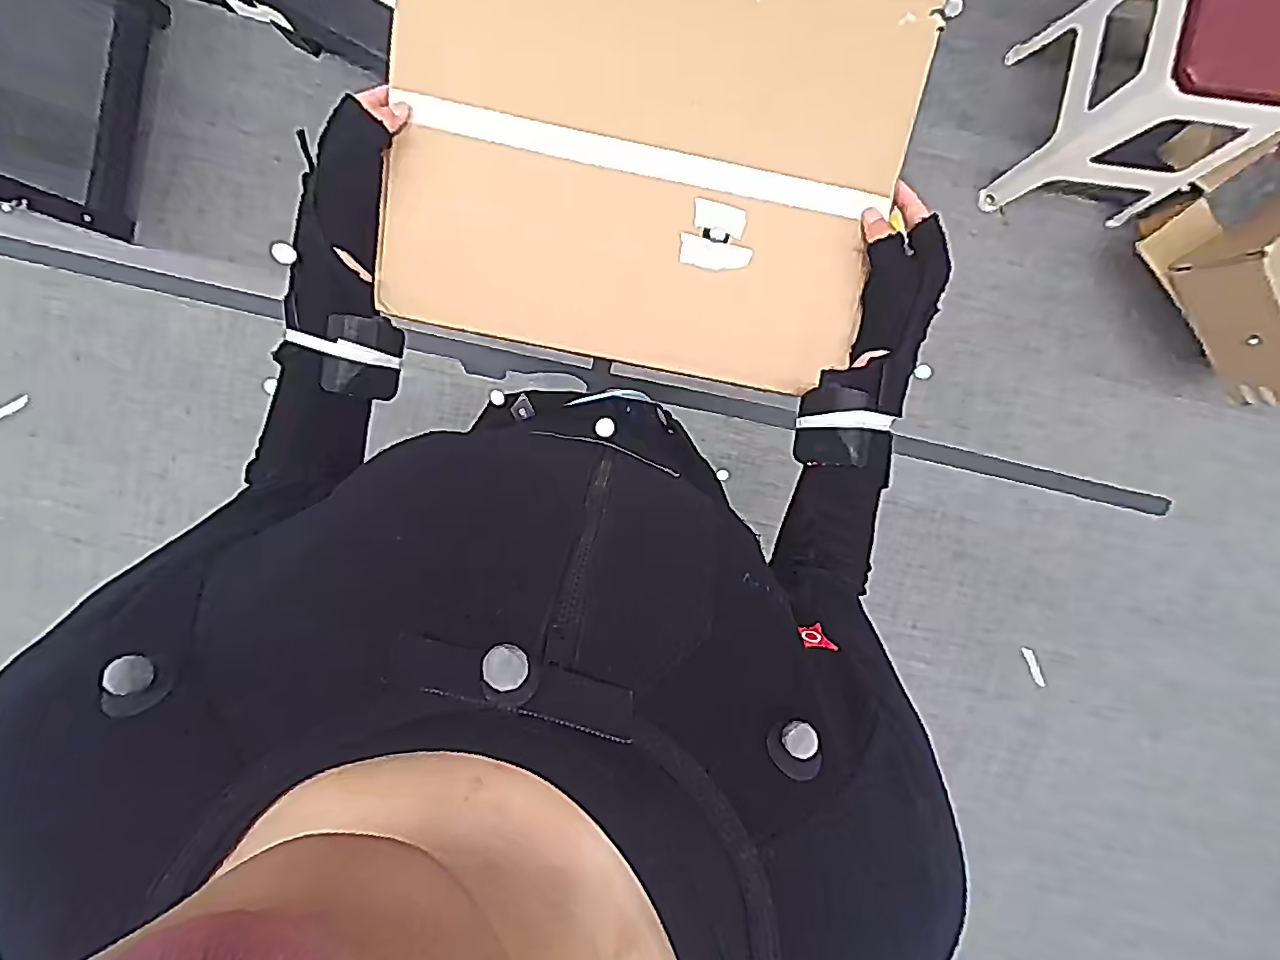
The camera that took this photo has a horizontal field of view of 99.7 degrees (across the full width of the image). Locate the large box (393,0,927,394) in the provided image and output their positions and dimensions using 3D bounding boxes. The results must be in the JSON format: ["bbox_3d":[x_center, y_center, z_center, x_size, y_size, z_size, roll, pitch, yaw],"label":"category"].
[{"bbox_3d":[0.000,-0.288,0.590,0.408,0.320,0.320,10,103,-6],"label":"large box"}]
